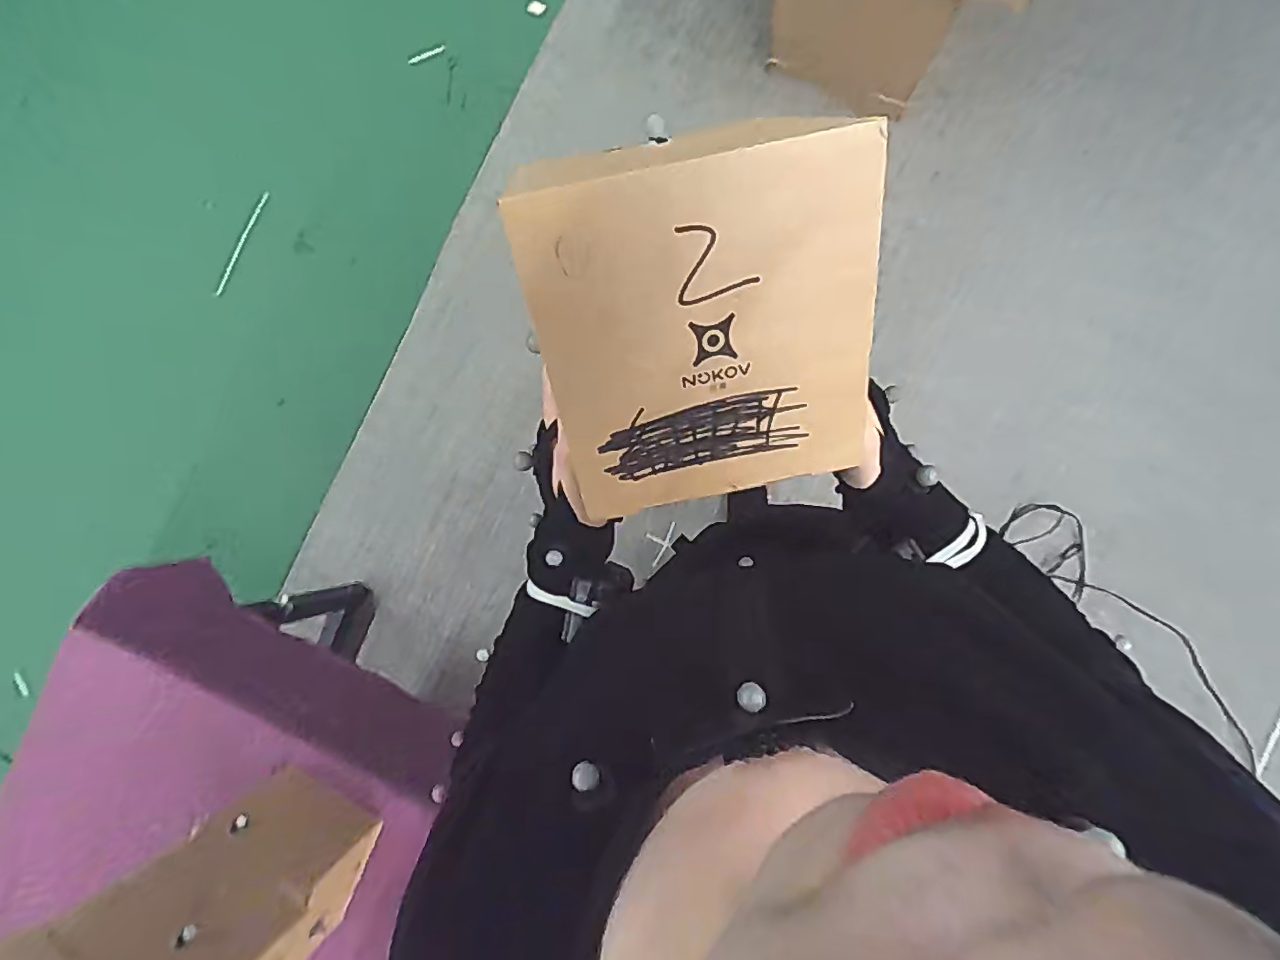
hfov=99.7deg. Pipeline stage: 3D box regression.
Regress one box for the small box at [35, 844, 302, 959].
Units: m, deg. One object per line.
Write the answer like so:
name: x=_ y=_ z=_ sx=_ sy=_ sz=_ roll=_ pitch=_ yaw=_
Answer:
small box: x=-0.514 y=0.543 z=0.577 sx=0.179 sy=0.176 sz=0.168 roll=27 pitch=90 yaw=8

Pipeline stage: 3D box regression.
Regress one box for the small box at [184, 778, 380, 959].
small box: x=-0.499 y=0.549 z=0.740 sx=0.179 sy=0.176 sz=0.168 roll=23 pitch=90 yaw=9
